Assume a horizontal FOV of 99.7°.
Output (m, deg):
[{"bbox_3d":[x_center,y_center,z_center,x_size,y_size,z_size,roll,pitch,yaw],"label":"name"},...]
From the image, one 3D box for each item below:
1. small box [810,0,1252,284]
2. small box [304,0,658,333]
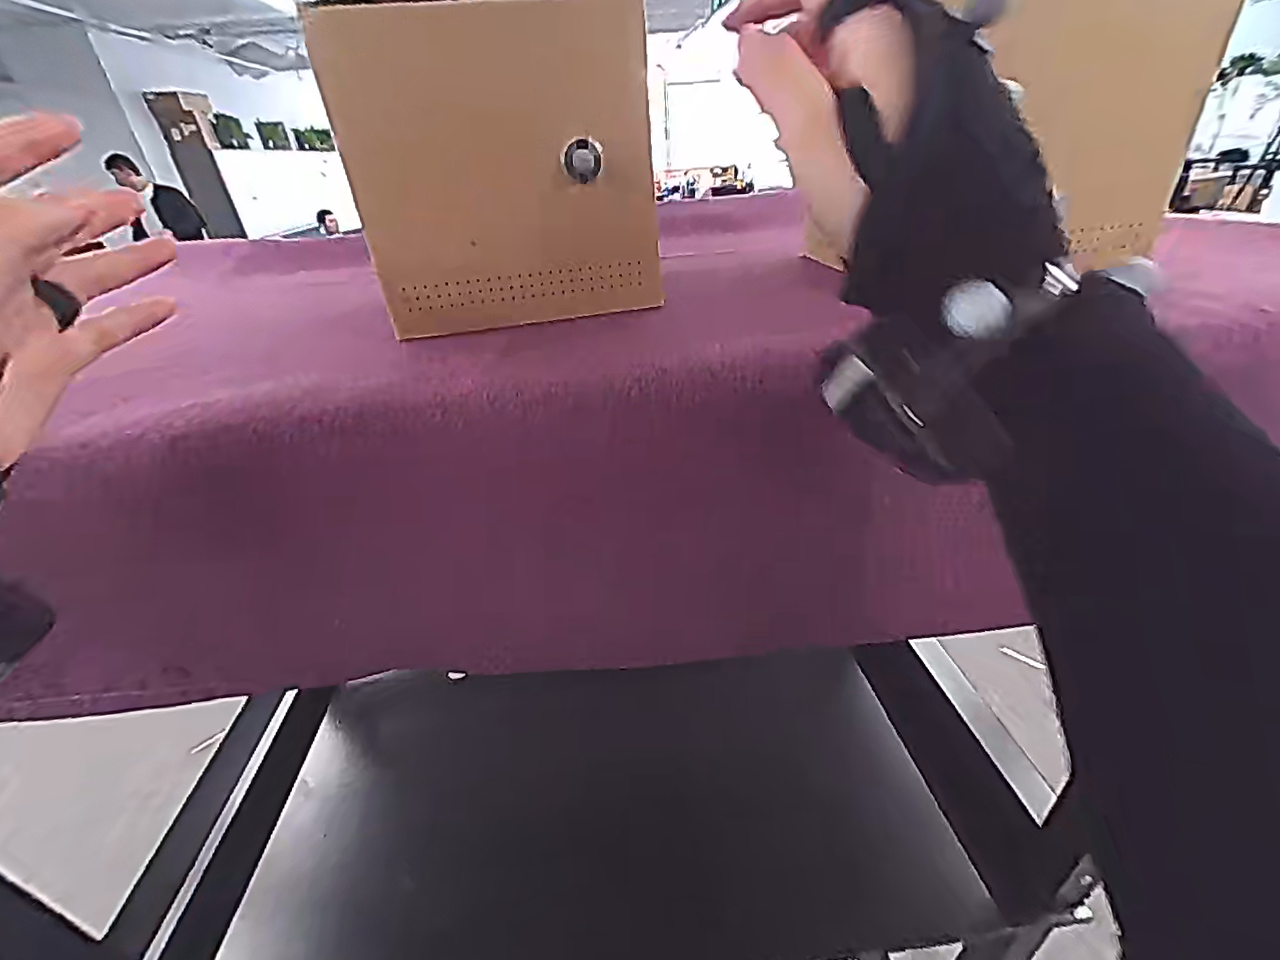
[{"bbox_3d":[0.236,-0.243,0.377,0.179,0.176,0.168,-6,30,-3],"label":"small box"},{"bbox_3d":[-0.087,-0.213,0.378,0.179,0.176,0.168,-10,31,-7],"label":"small box"}]
